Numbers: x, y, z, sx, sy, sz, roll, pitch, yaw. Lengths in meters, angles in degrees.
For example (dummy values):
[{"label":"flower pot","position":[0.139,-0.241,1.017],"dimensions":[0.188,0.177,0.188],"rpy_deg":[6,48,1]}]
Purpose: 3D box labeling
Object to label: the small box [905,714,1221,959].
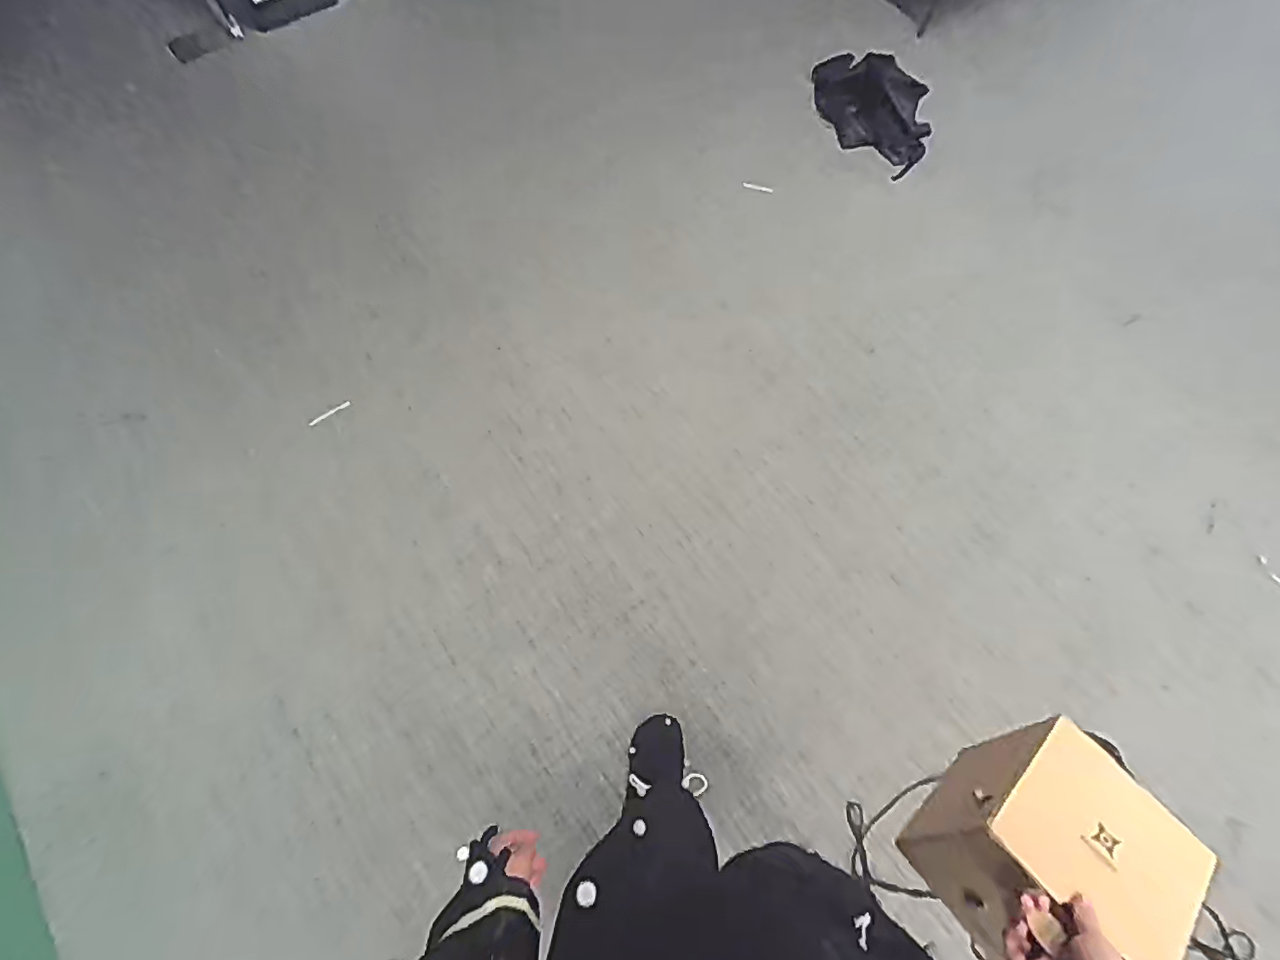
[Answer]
[{"label":"small box","position":[0.421,0.382,0.565],"dimensions":[0.179,0.176,0.168],"rpy_deg":[-28,64,-28]}]
